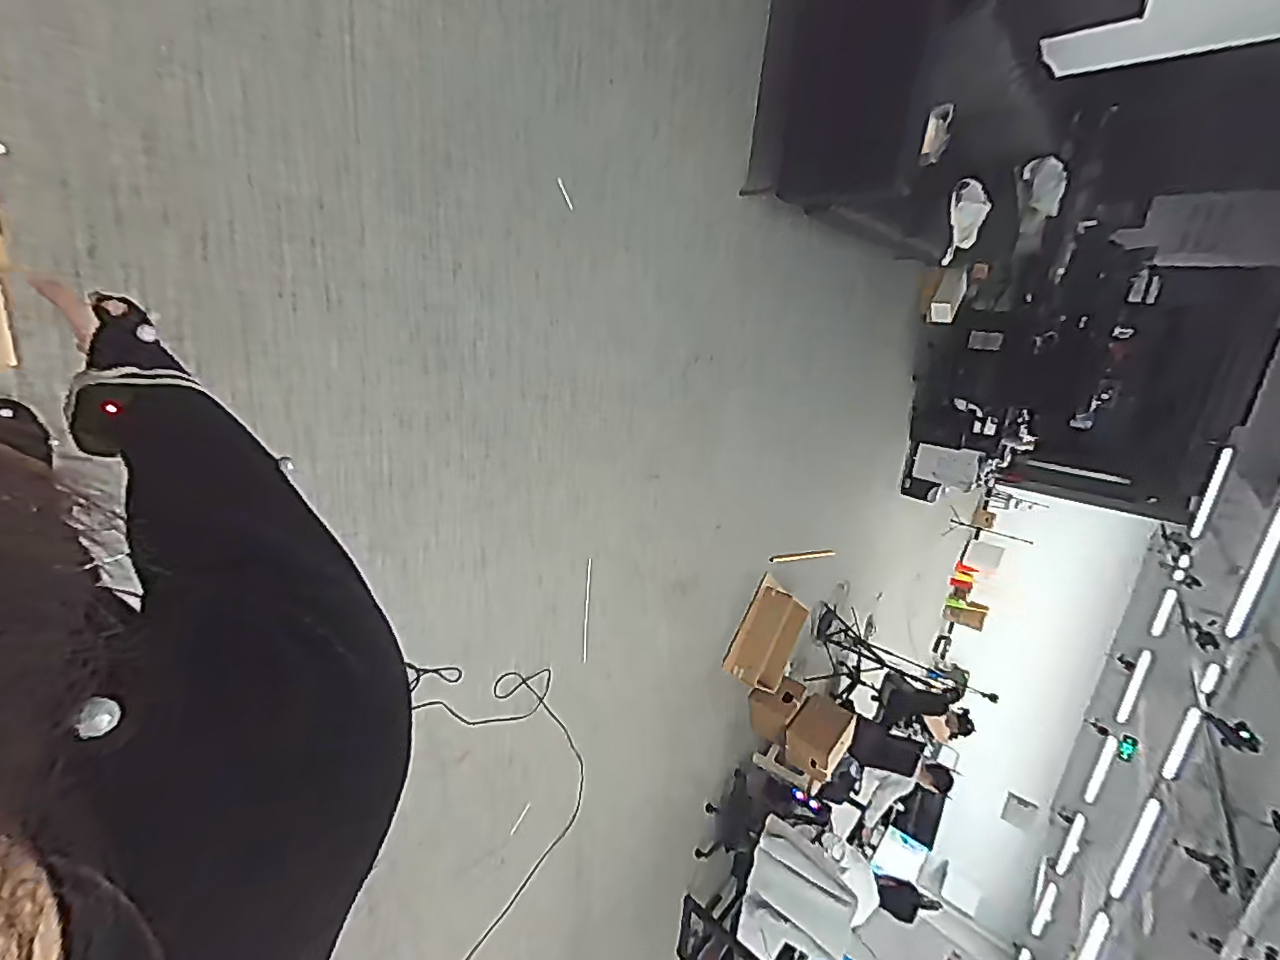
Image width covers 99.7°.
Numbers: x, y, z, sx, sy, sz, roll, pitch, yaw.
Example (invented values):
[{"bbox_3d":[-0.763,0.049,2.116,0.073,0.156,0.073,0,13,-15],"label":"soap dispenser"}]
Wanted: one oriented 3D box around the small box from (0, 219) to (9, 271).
[{"bbox_3d":[-0.709,-0.284,0.479,0.179,0.176,0.168,-13,113,-46],"label":"small box"}]
